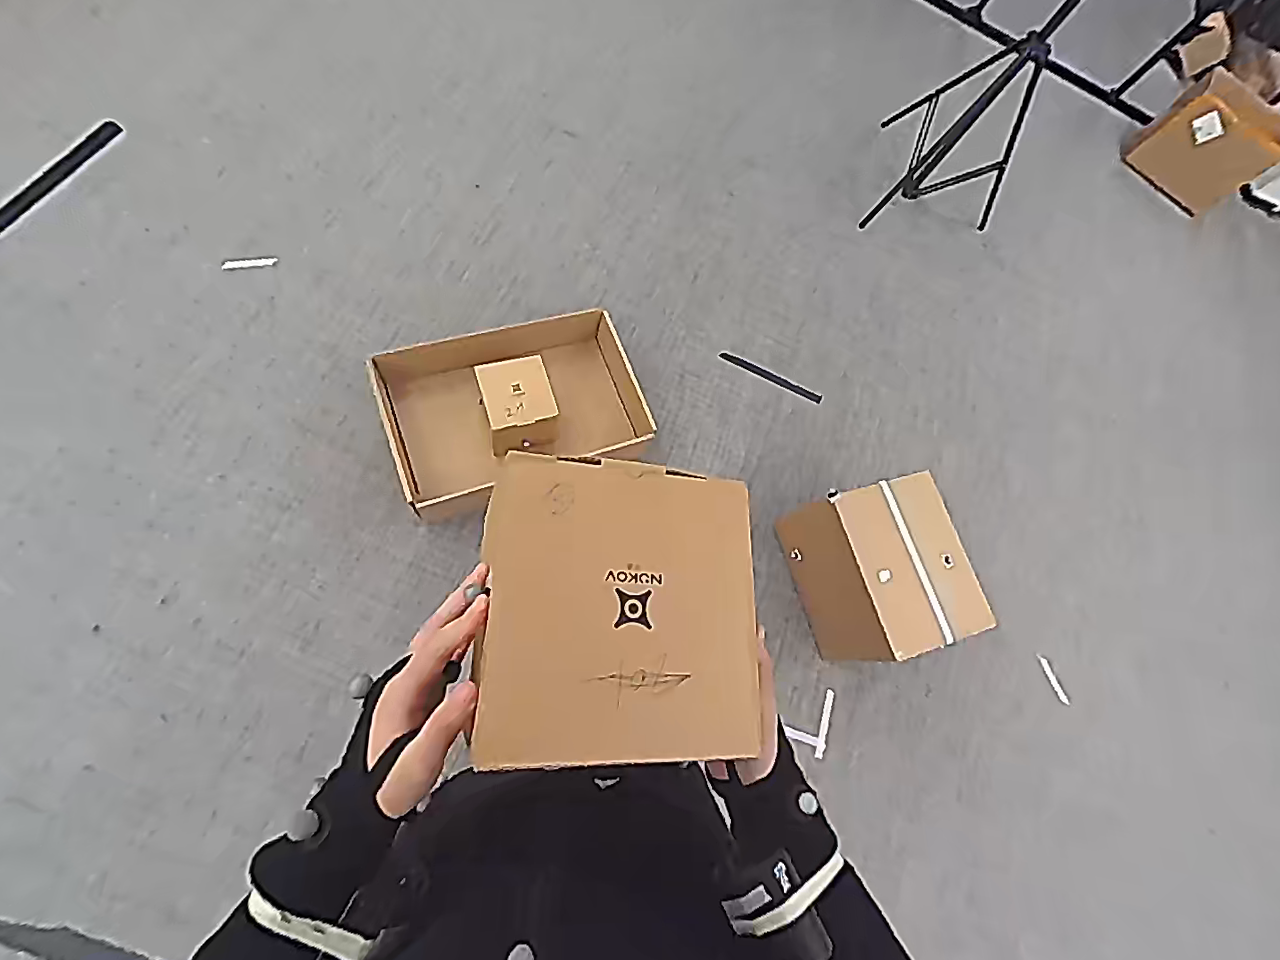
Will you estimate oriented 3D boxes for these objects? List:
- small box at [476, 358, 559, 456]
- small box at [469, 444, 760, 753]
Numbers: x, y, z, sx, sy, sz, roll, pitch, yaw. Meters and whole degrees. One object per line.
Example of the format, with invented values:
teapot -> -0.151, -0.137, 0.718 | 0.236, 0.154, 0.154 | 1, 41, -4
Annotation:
small box -> -0.315, -0.183, 1.380 | 0.168, 0.176, 0.179 | -15, 76, -17
small box -> -0.030, 0.094, 0.399 | 0.168, 0.176, 0.179 | 7, 70, -18
